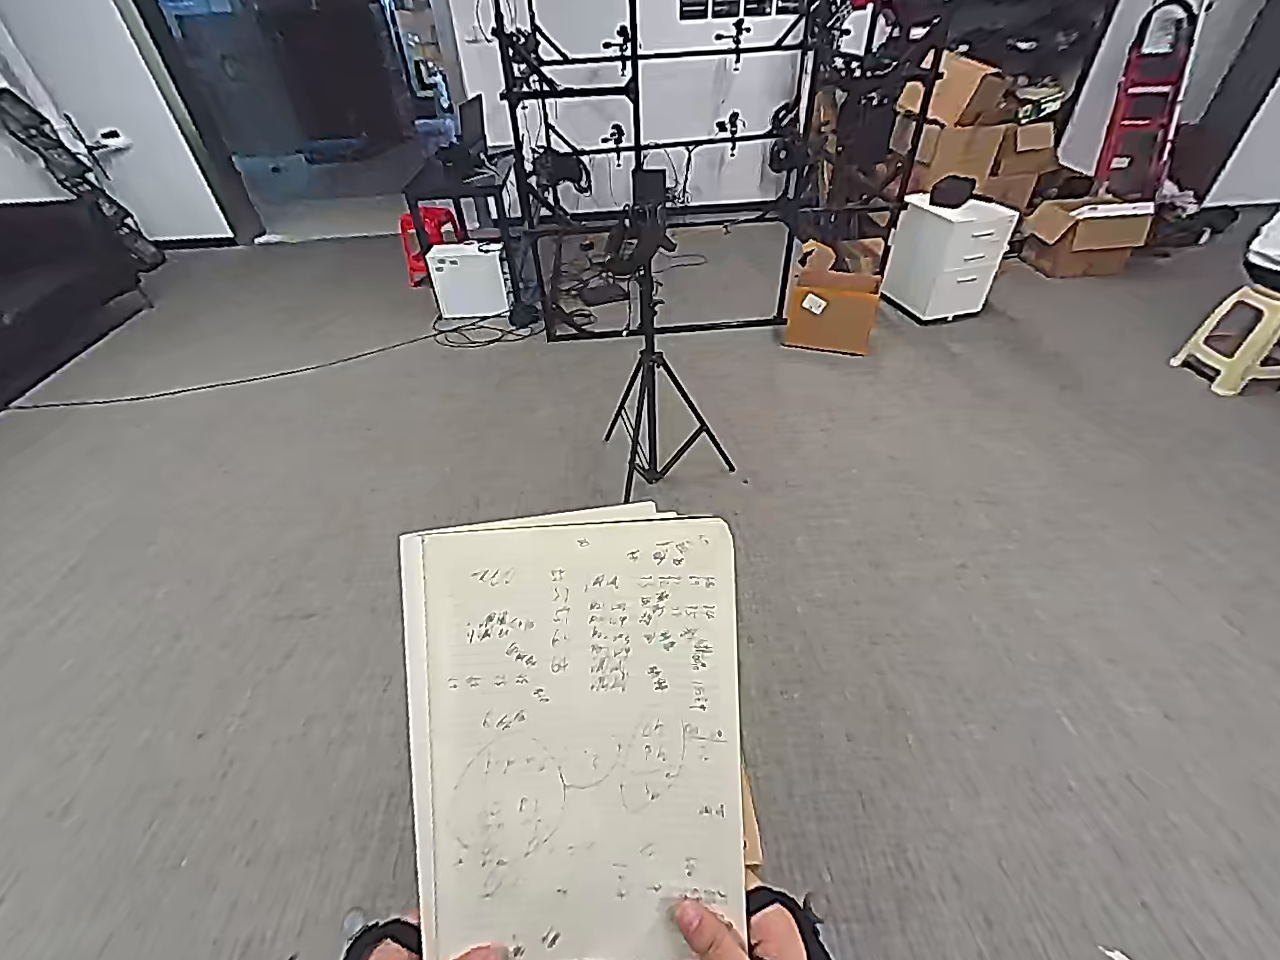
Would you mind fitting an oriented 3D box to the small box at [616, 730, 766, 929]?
[{"bbox_3d":[0.052,0.452,0.704,0.168,0.176,0.179,-2,42,-3],"label":"small box"}]

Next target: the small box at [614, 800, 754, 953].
[{"bbox_3d":[0.055,0.580,0.807,0.179,0.176,0.168,-5,42,-4],"label":"small box"}]
